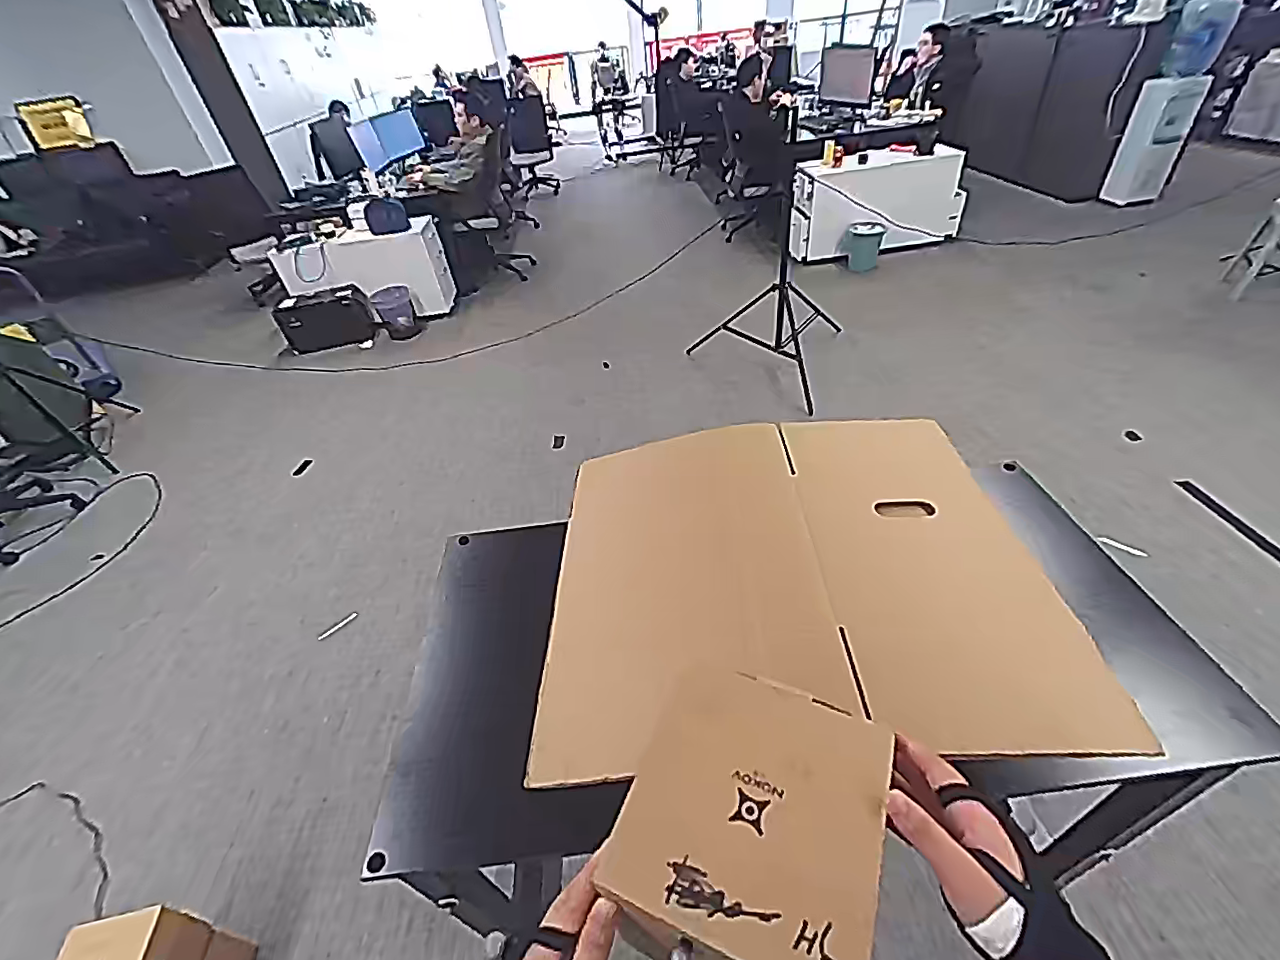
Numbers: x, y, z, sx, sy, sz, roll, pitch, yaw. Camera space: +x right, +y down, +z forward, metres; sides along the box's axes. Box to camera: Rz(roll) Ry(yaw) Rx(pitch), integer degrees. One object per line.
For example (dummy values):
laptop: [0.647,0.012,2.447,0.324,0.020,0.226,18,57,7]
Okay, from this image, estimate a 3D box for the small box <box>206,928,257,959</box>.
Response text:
small box: [-0.947,1.078,1.128,0.168,0.176,0.179,-10,41,-2]

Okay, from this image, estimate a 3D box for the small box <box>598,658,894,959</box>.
small box: [0.087,0.281,0.423,0.168,0.176,0.179,12,42,24]

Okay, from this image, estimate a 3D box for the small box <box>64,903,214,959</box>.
small box: [-0.968,0.952,1.028,0.168,0.176,0.179,-12,39,-5]
